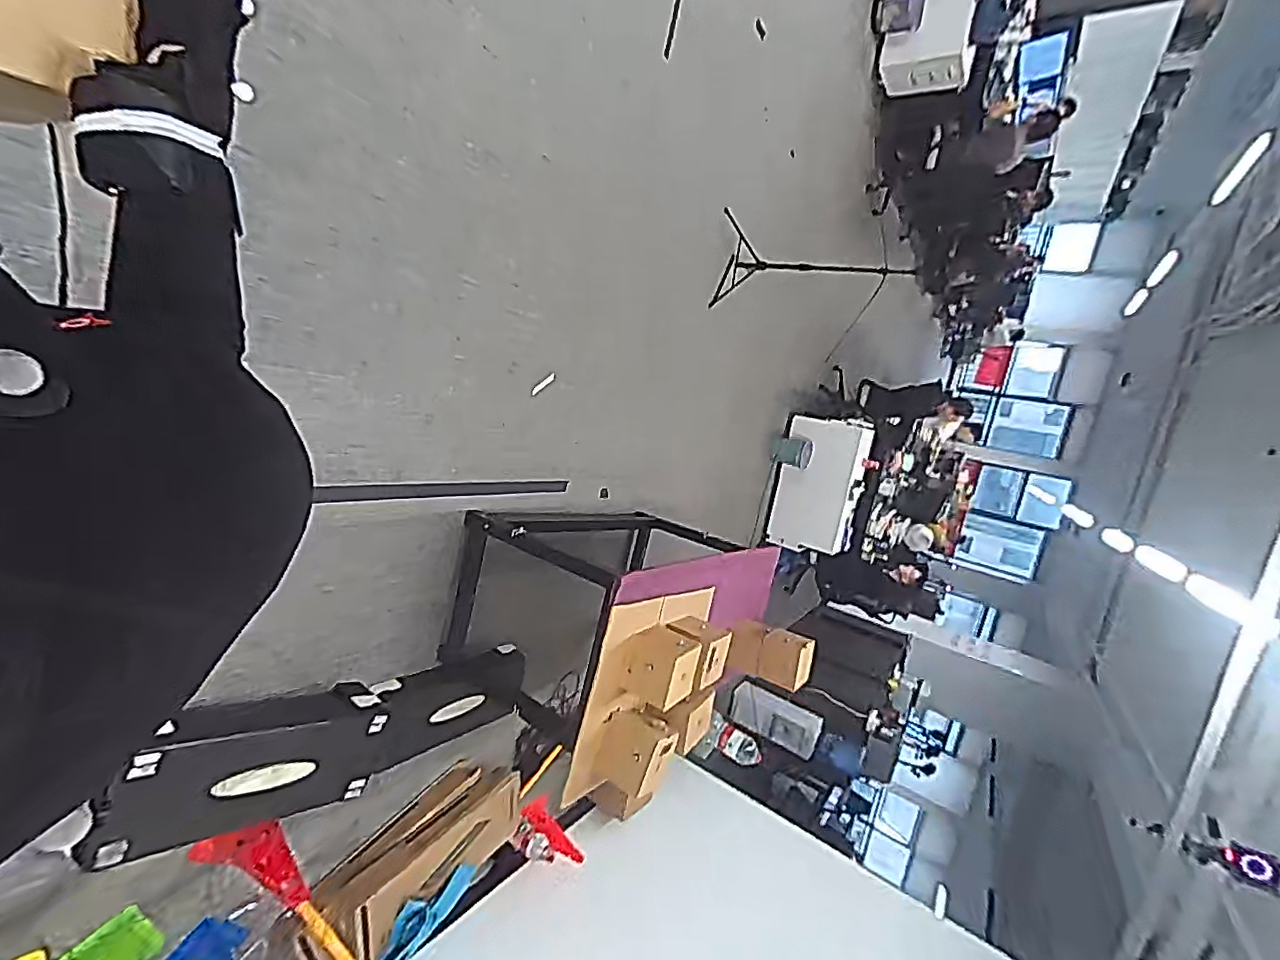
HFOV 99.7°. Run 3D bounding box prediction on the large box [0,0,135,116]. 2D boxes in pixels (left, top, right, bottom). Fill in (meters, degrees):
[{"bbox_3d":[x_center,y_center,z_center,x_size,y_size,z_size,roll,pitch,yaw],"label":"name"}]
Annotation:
[{"bbox_3d":[-0.559,-0.427,0.251,0.408,0.320,0.320,-11,118,-59],"label":"large box"}]
